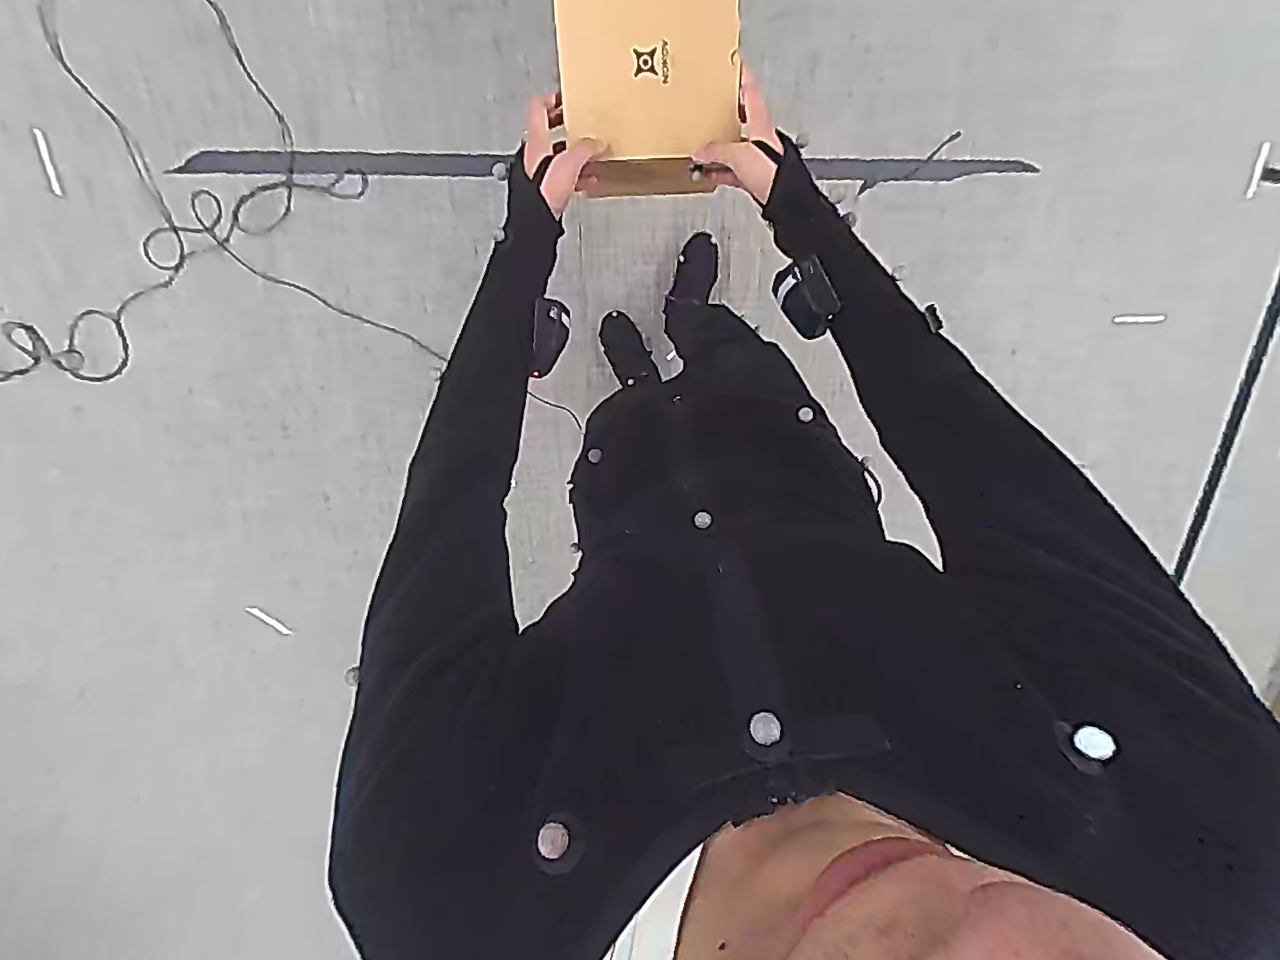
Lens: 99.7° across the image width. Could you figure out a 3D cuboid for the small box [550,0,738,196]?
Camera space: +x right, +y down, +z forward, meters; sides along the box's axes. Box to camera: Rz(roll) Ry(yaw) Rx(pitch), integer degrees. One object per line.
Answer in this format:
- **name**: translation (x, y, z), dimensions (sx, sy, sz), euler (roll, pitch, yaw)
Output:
- **small box**: translation (0.003, -0.419, 0.590), dimensions (0.179, 0.176, 0.168), euler (-4, 107, -2)
